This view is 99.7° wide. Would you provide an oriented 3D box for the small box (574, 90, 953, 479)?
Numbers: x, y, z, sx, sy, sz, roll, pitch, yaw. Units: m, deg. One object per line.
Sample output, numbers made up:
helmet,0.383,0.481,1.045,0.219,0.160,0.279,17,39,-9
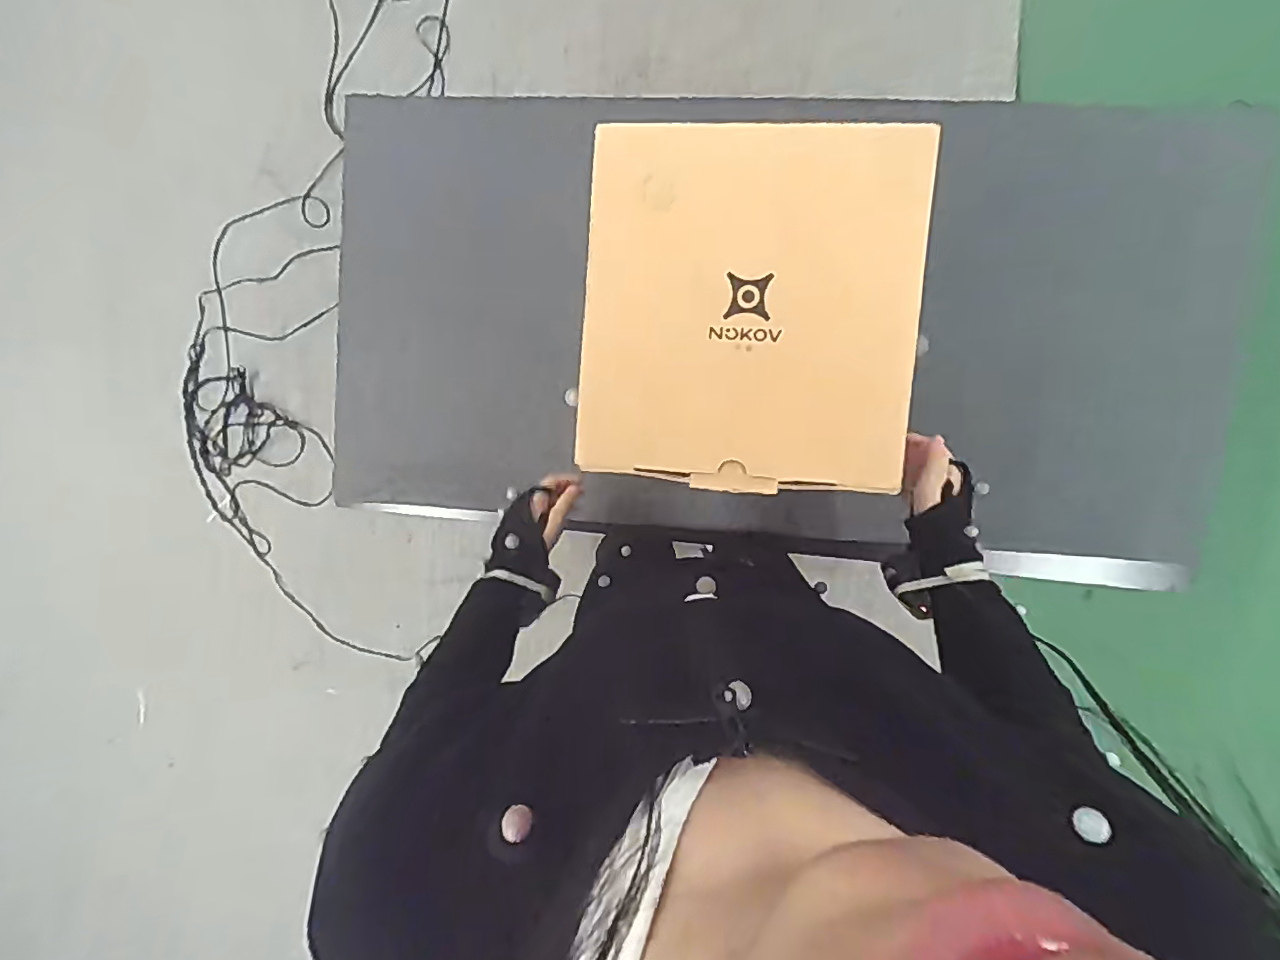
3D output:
small box,0.062,-0.096,0.332,0.168,0.176,0.179,4,93,7
